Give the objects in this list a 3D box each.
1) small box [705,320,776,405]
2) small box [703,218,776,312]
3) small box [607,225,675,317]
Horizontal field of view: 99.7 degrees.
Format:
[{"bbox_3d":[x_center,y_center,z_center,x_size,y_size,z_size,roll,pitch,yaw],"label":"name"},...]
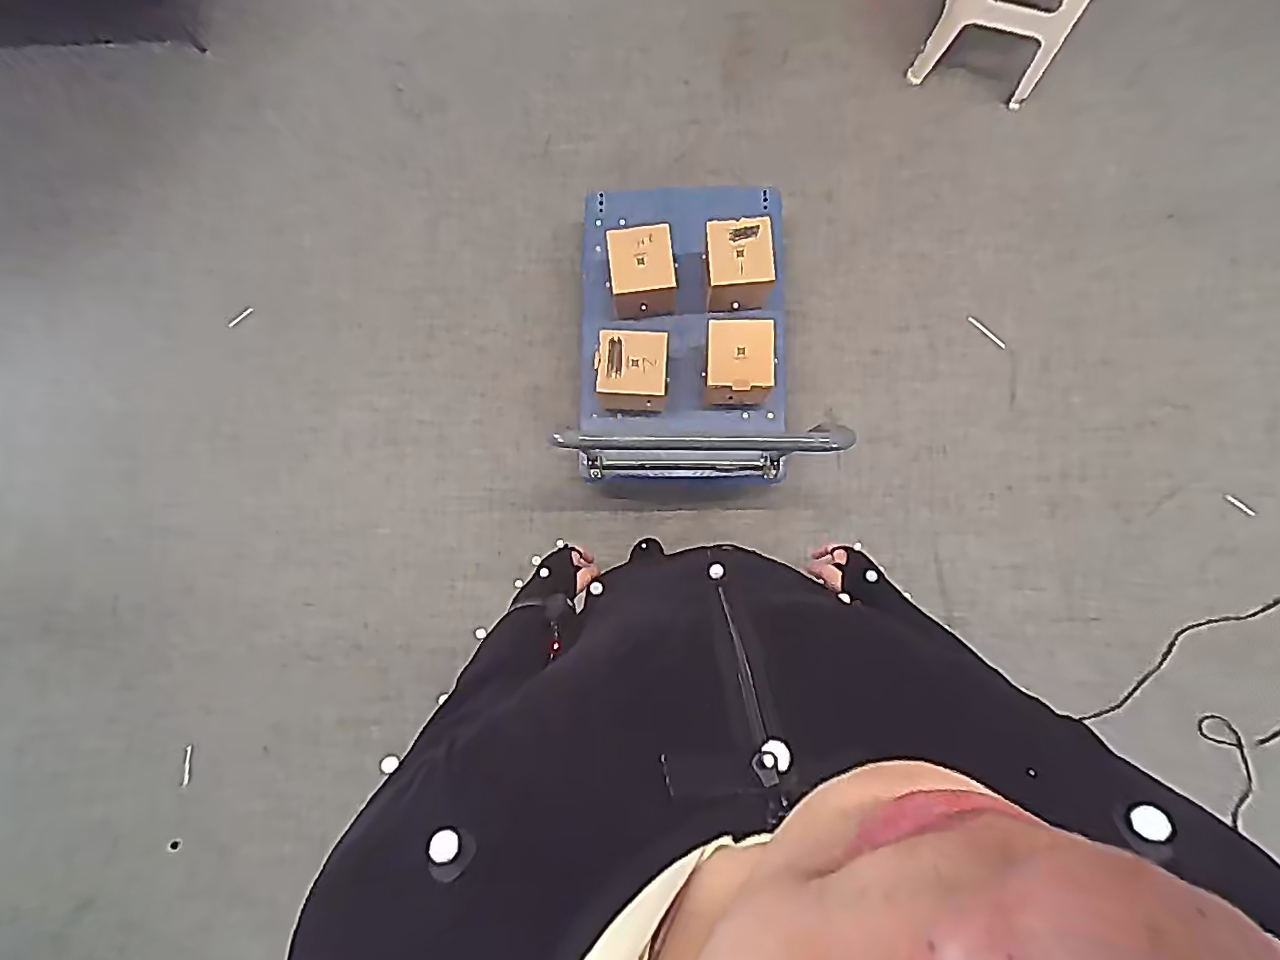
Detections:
[{"bbox_3d":[0.260,-0.306,1.429,0.168,0.176,0.179,0,84,3],"label":"small box"},{"bbox_3d":[0.262,-0.574,1.457,0.168,0.176,0.179,-4,84,3],"label":"small box"},{"bbox_3d":[0.007,-0.557,1.467,0.168,0.176,0.179,-6,84,1],"label":"small box"}]
